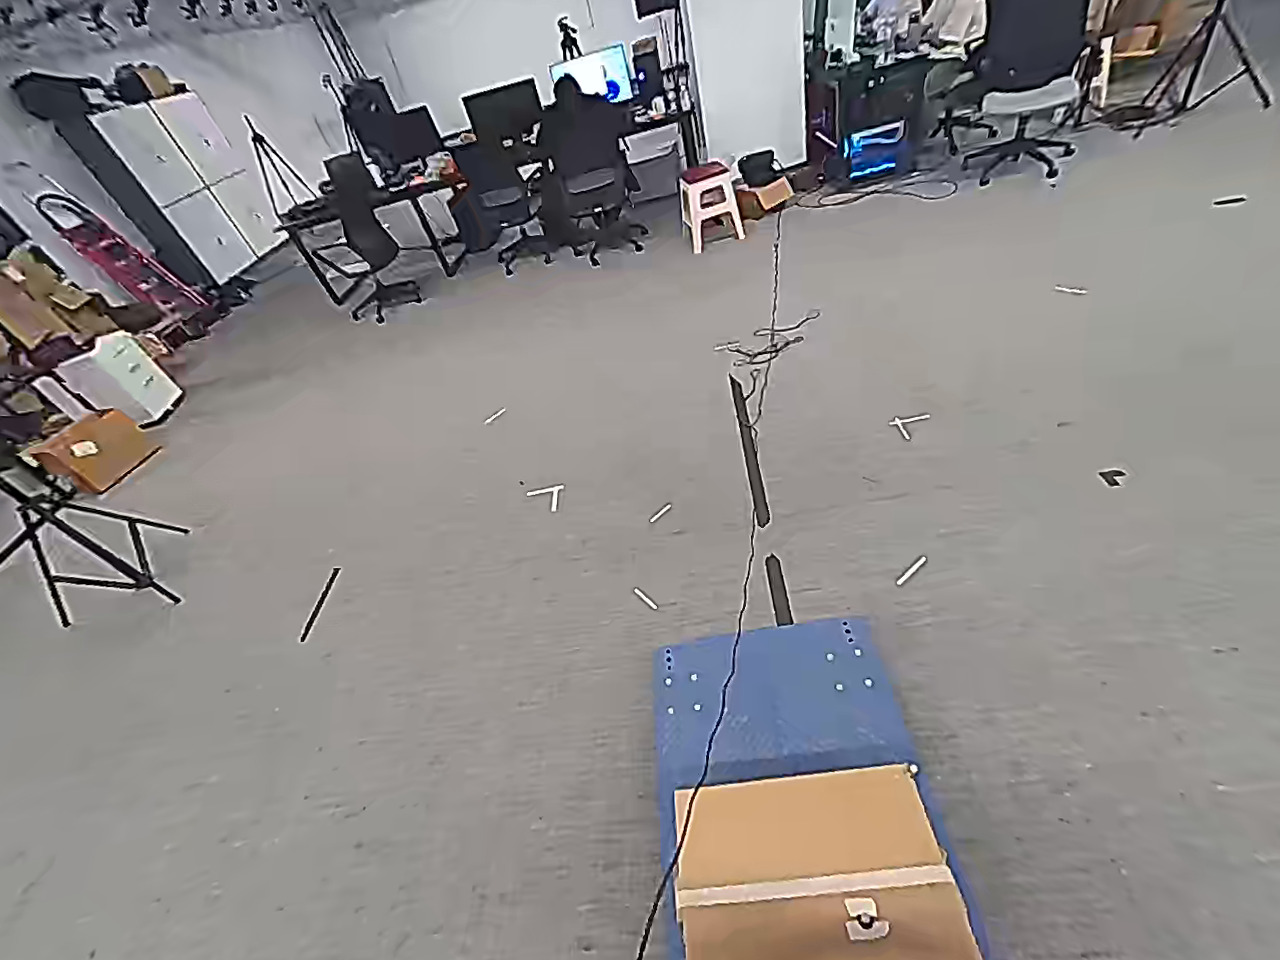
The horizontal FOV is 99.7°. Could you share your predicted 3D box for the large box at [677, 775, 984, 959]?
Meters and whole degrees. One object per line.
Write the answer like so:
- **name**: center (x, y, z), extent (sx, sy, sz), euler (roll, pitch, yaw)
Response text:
- **large box**: center (0.294, 0.734, 0.896), extent (0.408, 0.320, 0.320), euler (-11, 42, 8)
